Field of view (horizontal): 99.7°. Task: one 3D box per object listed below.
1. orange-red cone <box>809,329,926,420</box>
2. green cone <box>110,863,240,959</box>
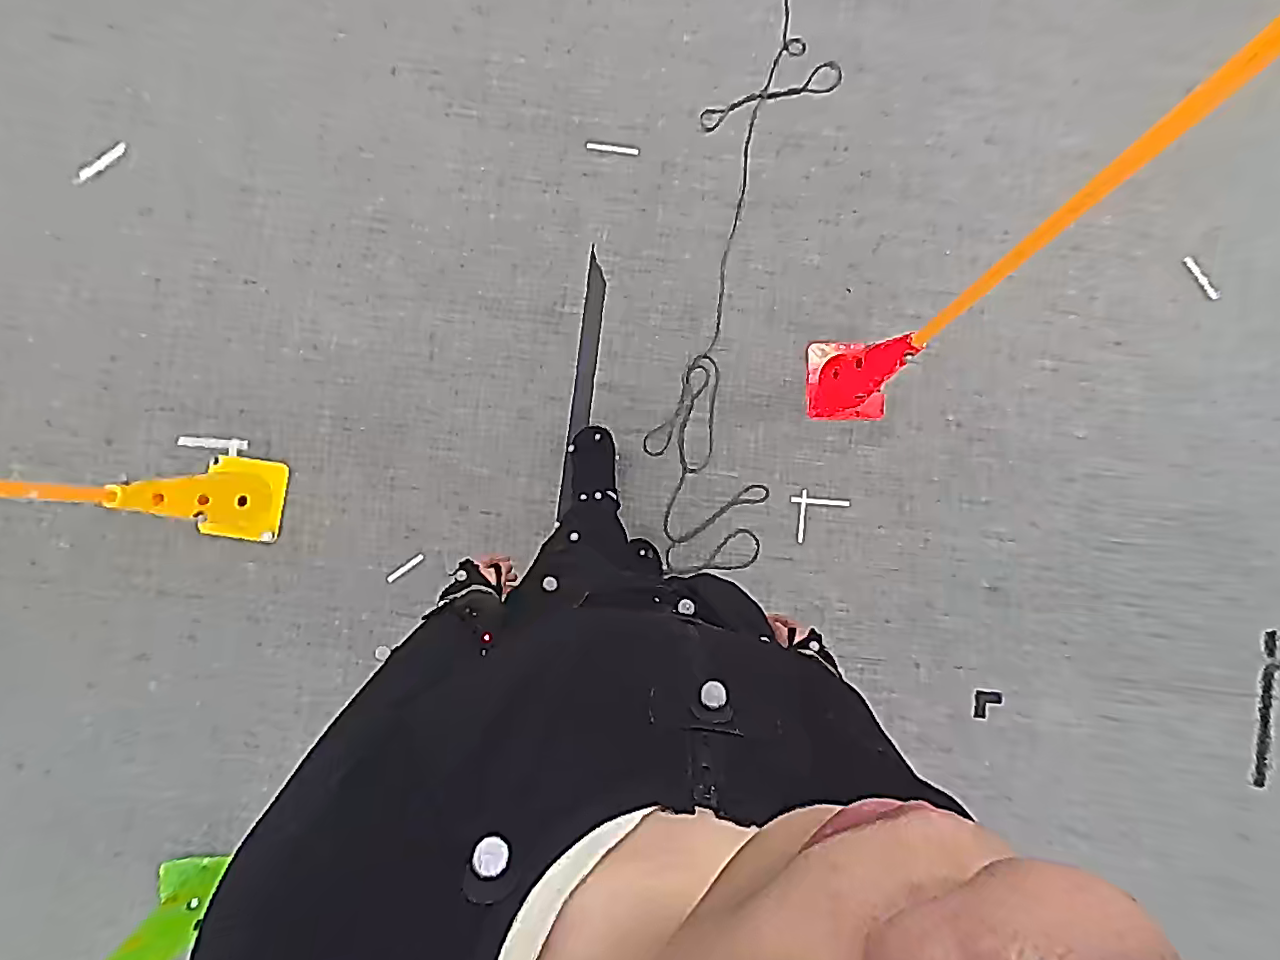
[{"bbox_3d":[0.535,-0.264,1.224,0.199,0.360,0.198,1,86,0],"label":"orange-red cone"},{"bbox_3d":[-1.053,1.014,1.122,0.200,0.368,0.202,-4,85,-2],"label":"green cone"}]
